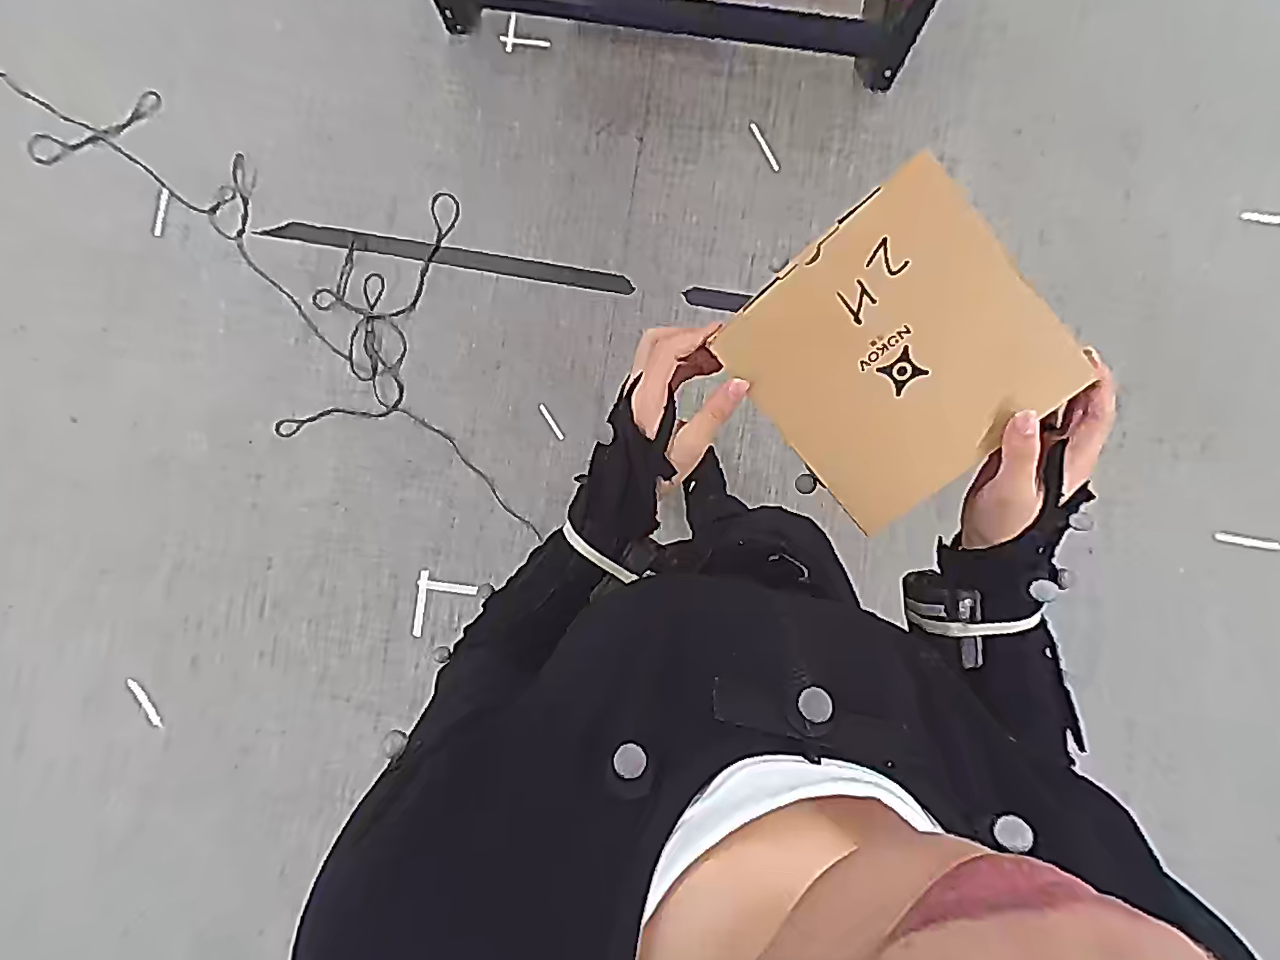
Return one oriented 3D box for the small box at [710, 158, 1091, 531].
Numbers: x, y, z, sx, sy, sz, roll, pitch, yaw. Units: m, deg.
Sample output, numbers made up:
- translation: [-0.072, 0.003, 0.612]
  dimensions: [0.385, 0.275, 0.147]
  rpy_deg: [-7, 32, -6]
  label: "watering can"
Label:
- translation: [0.172, -0.097, 0.418]
  dimensions: [0.168, 0.176, 0.179]
  rpy_deg: [-41, 96, 15]
  label: "small box"
